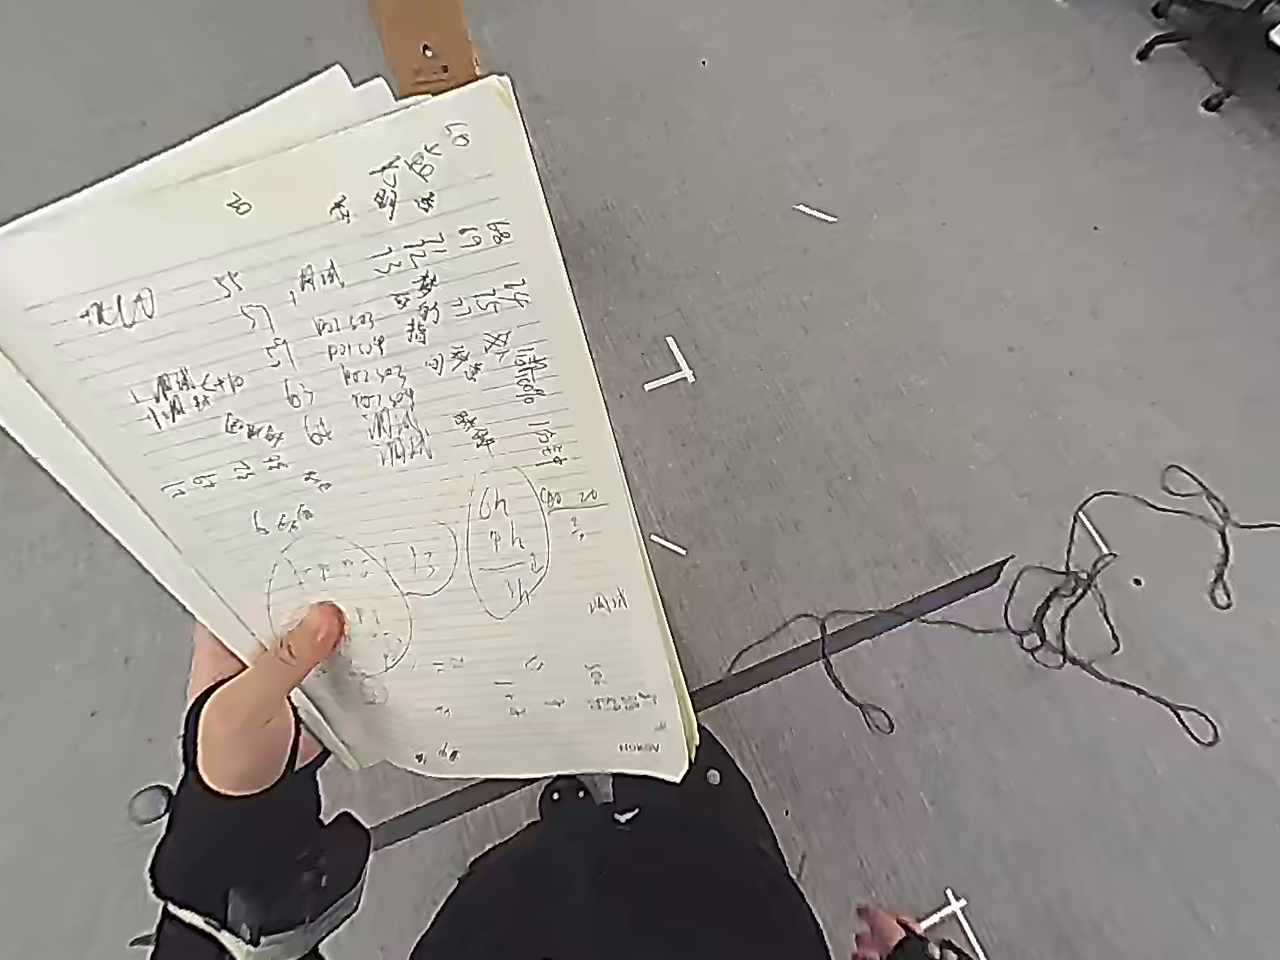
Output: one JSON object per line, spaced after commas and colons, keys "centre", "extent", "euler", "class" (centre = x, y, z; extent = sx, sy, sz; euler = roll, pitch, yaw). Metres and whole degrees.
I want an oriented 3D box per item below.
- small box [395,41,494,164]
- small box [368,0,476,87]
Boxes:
{"centre": [-0.437, -0.851, 1.212], "extent": [0.179, 0.176, 0.168], "euler": [-17, 70, -8], "class": "small box"}
{"centre": [-0.434, -0.920, 1.062], "extent": [0.168, 0.176, 0.179], "euler": [-15, 70, -8], "class": "small box"}
